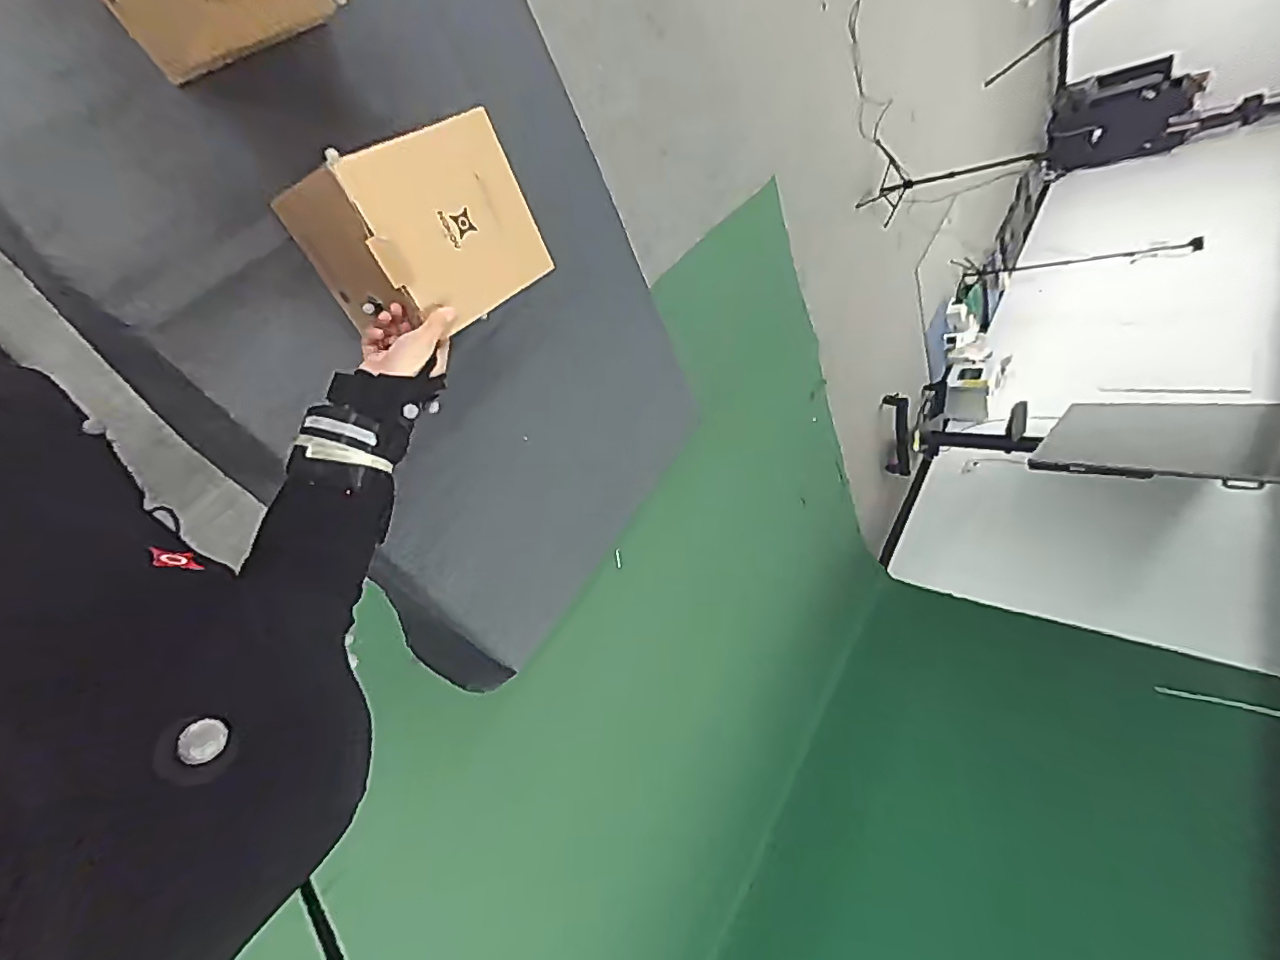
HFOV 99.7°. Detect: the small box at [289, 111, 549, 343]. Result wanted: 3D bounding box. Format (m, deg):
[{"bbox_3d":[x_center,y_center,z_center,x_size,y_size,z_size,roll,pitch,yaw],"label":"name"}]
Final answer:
[{"bbox_3d":[-0.239,-0.259,0.583,0.179,0.176,0.168,-49,131,-31],"label":"small box"}]
